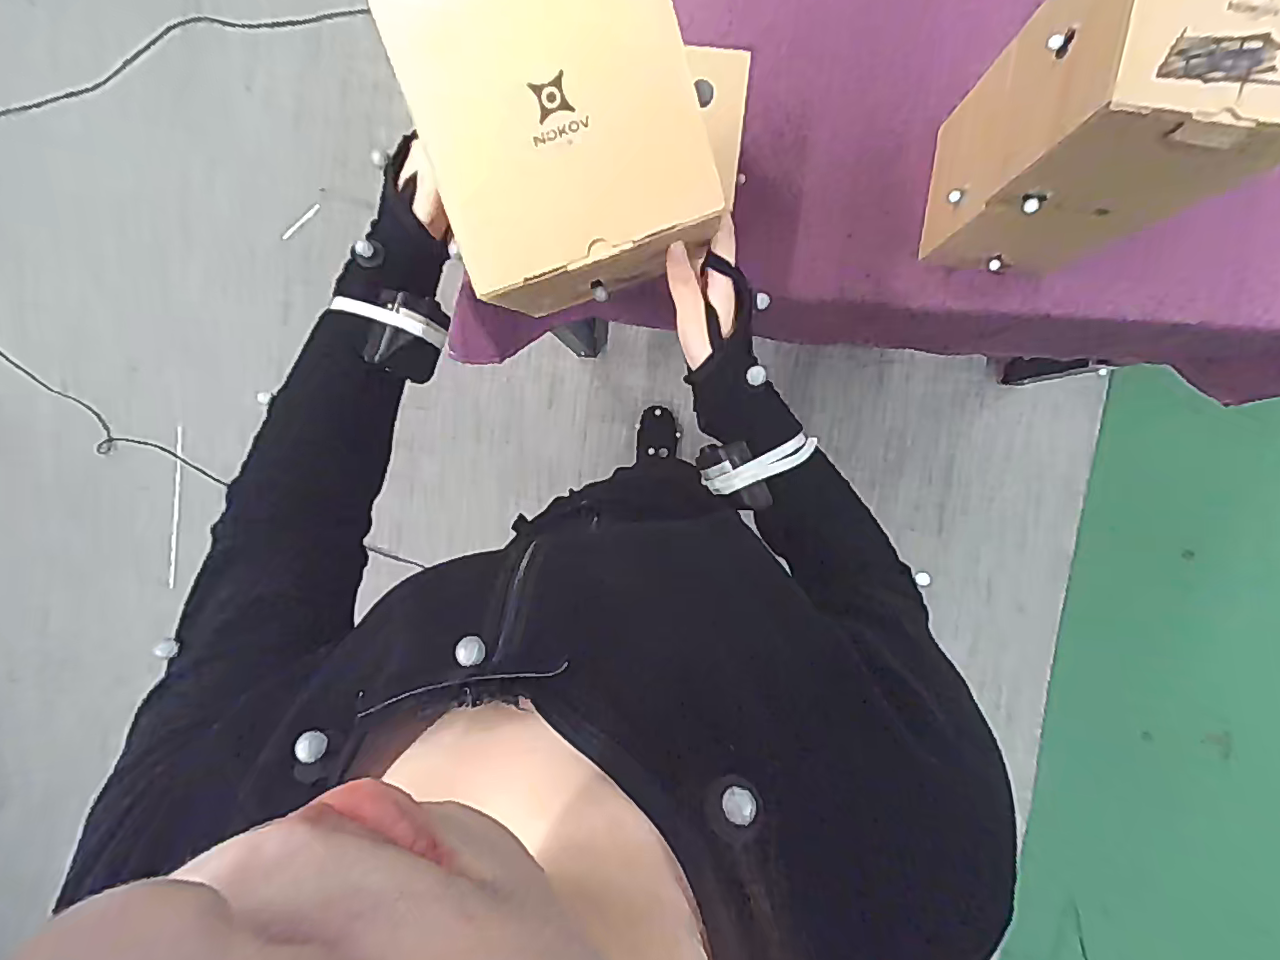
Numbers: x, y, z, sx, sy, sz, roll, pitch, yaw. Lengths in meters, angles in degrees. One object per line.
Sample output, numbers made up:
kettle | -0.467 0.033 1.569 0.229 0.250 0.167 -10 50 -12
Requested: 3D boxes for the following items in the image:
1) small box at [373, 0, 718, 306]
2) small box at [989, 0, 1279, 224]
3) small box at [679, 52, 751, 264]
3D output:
small box | -0.052 -0.242 0.399 0.168 0.176 0.179 -16 104 6
small box | 0.435 -0.344 0.460 0.168 0.176 0.179 10 93 4
small box | 0.027 -0.377 0.658 0.179 0.176 0.168 7 93 4
